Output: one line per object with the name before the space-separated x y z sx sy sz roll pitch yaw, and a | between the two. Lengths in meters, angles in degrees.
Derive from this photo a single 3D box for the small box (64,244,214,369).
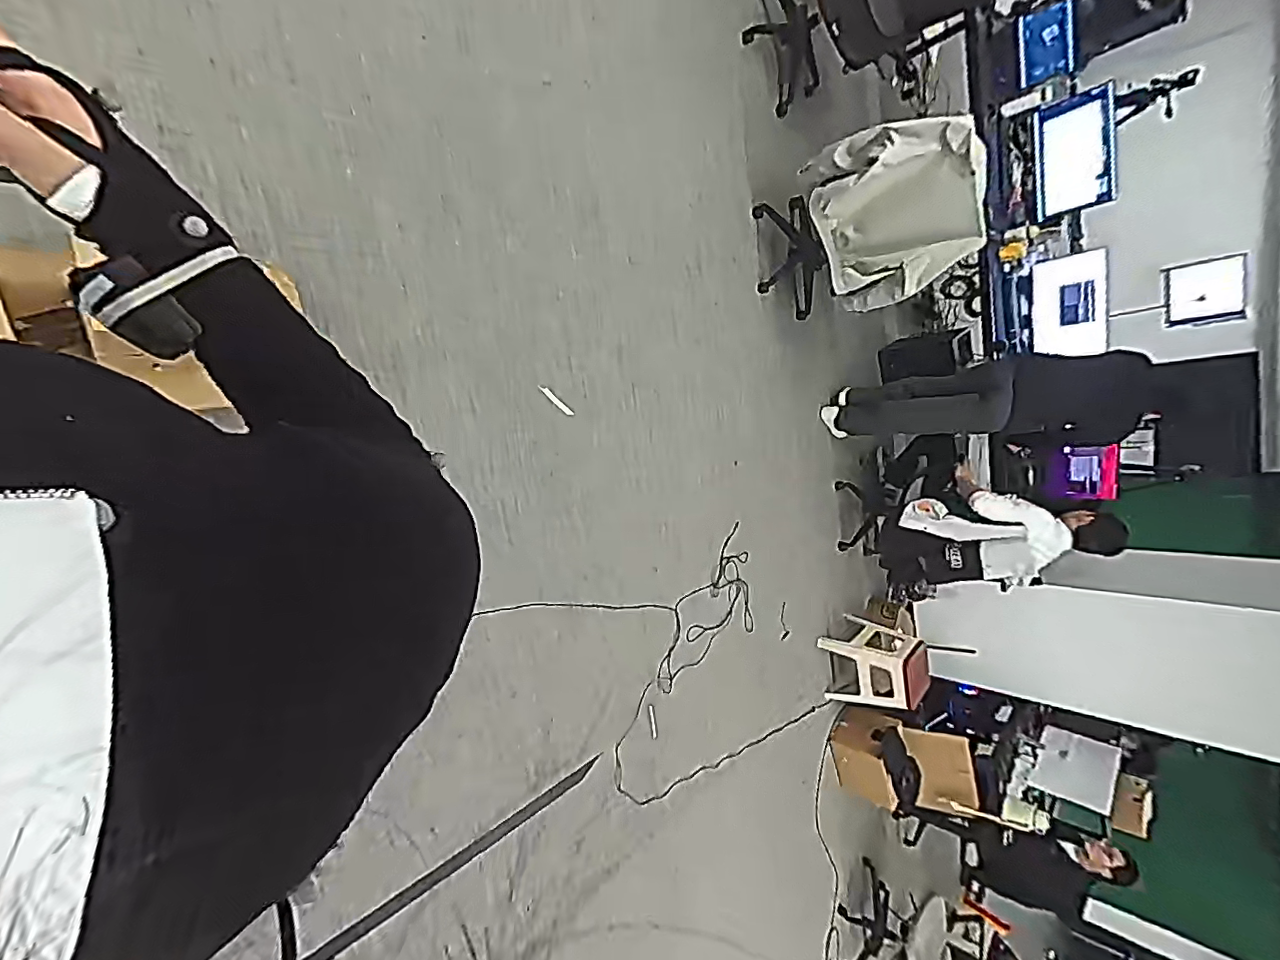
small box | -0.915 -0.311 0.993 0.168 0.176 0.179 -18 101 -42

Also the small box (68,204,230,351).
small box | -0.796 -0.316 0.880 0.168 0.176 0.179 -13 99 -43

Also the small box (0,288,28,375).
small box | -1.088 -0.250 0.825 0.168 0.176 0.179 -20 104 -42
